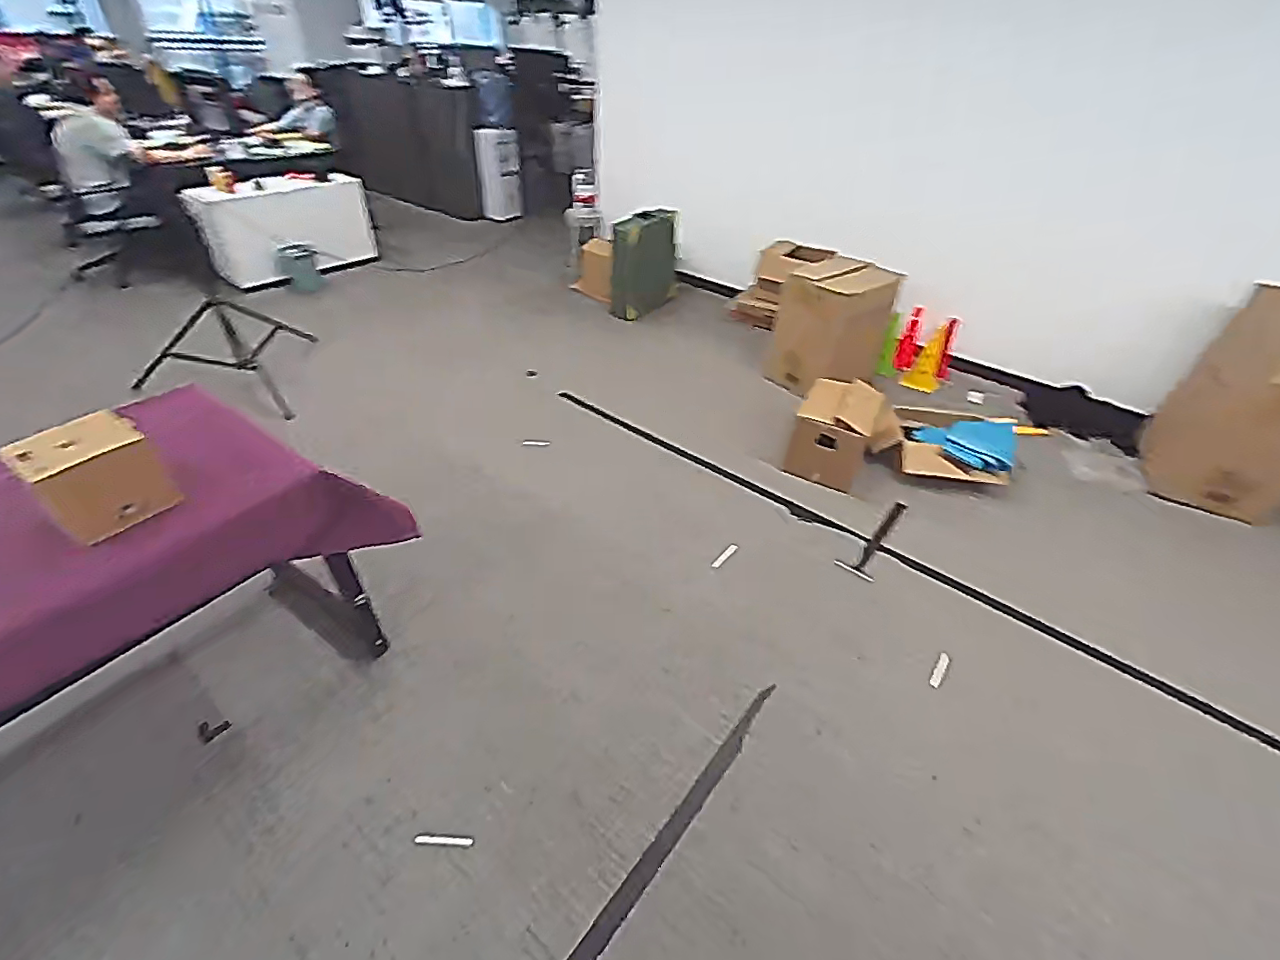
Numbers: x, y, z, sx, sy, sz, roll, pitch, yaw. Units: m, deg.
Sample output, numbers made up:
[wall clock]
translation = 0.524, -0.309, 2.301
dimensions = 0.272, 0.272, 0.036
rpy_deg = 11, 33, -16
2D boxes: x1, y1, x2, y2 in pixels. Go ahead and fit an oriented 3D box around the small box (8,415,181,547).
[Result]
[small box]
translation = -1.076, -0.001, 1.087
dimensions = 0.168, 0.176, 0.179
rpy_deg = 24, 43, 24
